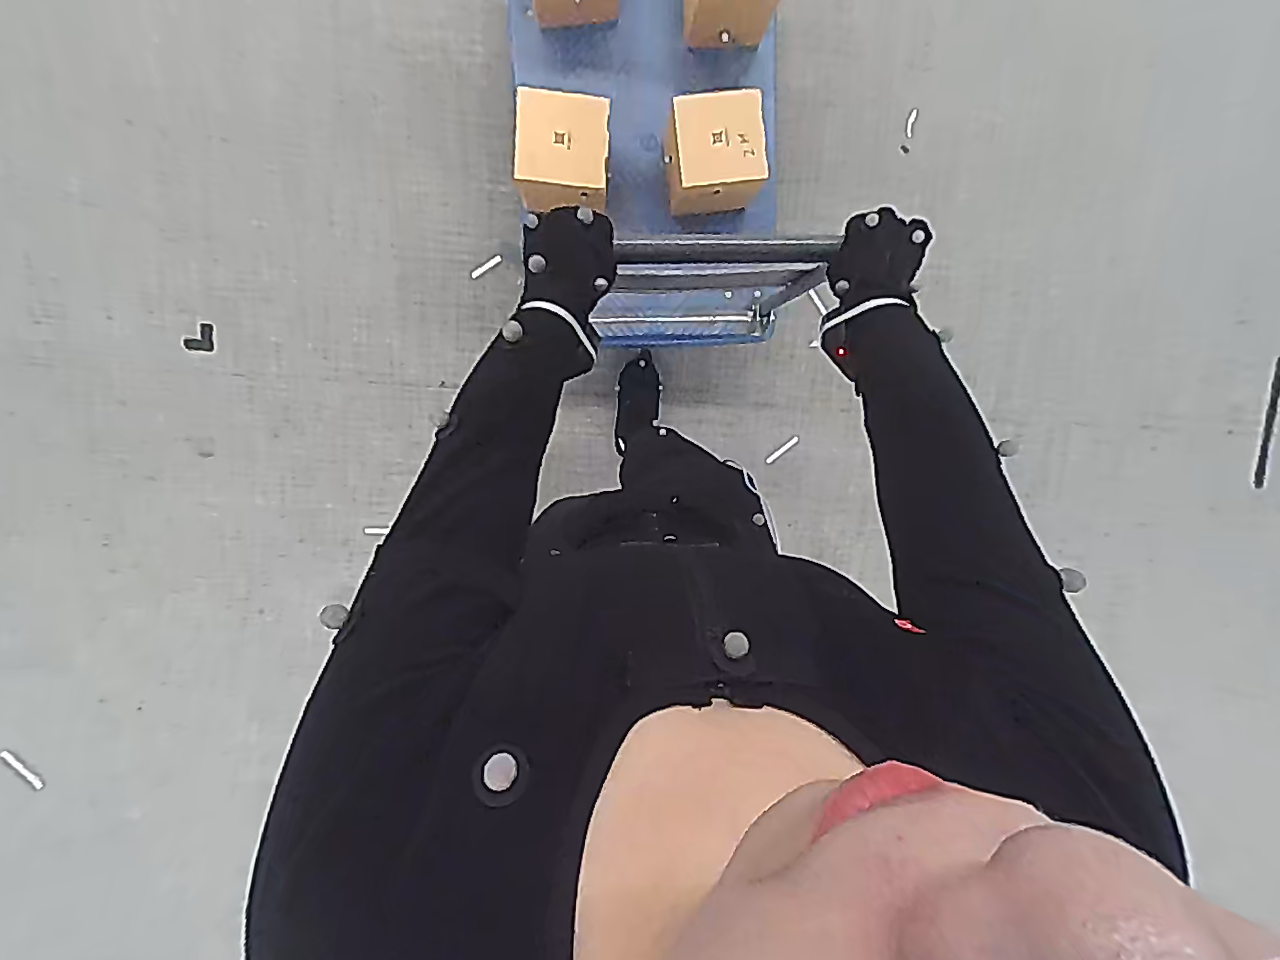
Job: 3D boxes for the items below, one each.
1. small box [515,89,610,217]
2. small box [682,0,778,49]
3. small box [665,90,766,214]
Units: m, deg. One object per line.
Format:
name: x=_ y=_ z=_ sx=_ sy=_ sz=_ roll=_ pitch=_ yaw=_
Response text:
small box: x=-0.156 y=-0.660 z=1.113 sx=0.179 sy=0.176 sz=0.168 roll=3 pitch=97 yaw=-6
small box: x=0.177 y=-1.018 z=1.089 sx=0.168 sy=0.176 sz=0.179 roll=-4 pitch=99 yaw=-4
small box: x=0.150 y=-0.677 z=1.134 sx=0.179 sy=0.176 sz=0.168 roll=-8 pitch=99 yaw=-3
